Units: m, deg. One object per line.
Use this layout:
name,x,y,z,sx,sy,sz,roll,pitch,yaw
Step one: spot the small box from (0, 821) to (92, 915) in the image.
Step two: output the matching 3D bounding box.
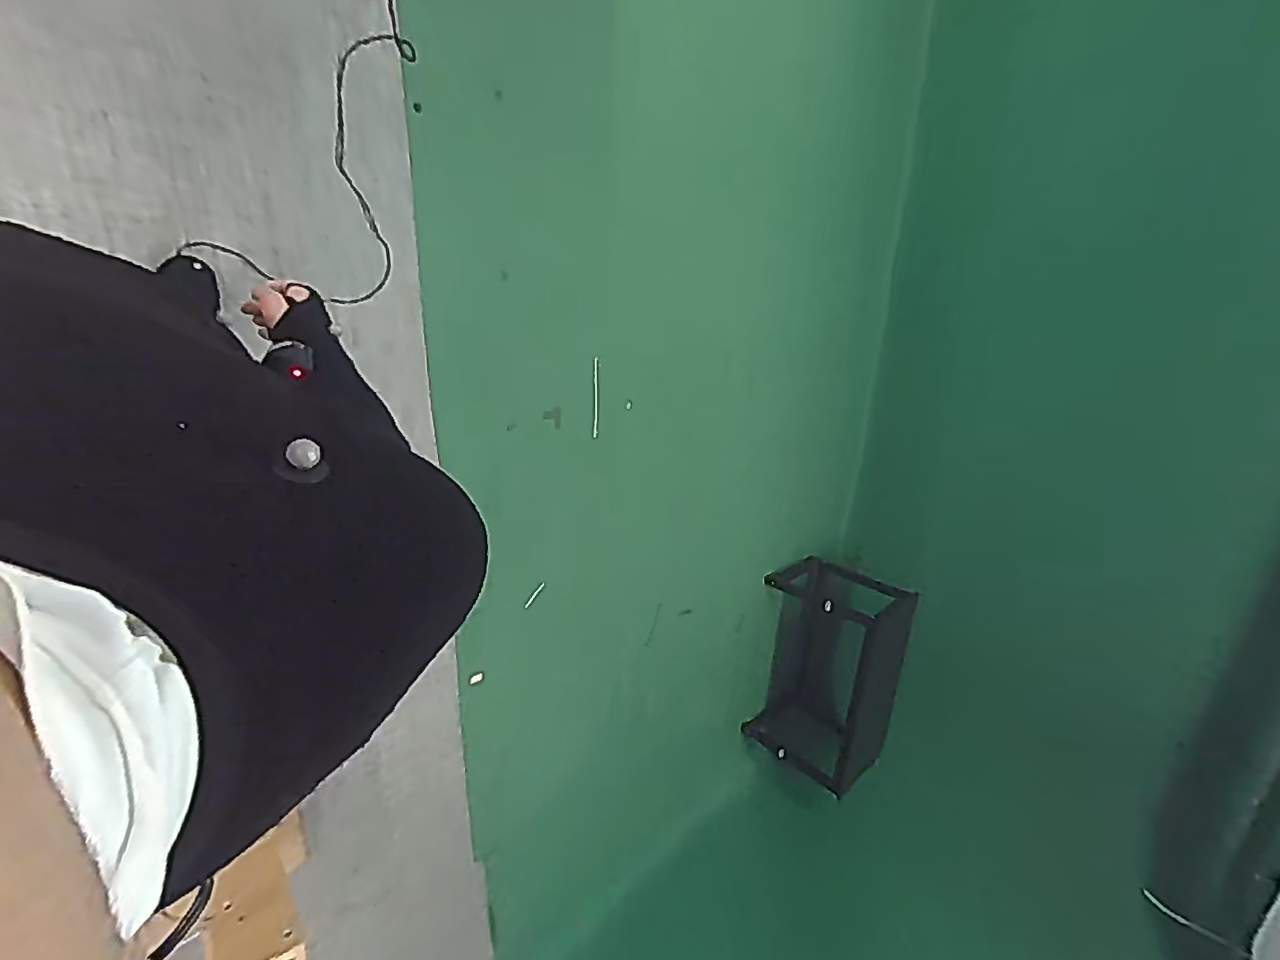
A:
small box,-1.391,0.930,1.230,0.179,0.176,0.168,-14,114,-42

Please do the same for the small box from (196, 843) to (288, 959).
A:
small box,-1.039,1.109,1.409,0.179,0.176,0.168,-5,109,-45

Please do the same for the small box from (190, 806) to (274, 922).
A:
small box,-1.152,1.073,1.525,0.179,0.176,0.168,-5,108,-45
